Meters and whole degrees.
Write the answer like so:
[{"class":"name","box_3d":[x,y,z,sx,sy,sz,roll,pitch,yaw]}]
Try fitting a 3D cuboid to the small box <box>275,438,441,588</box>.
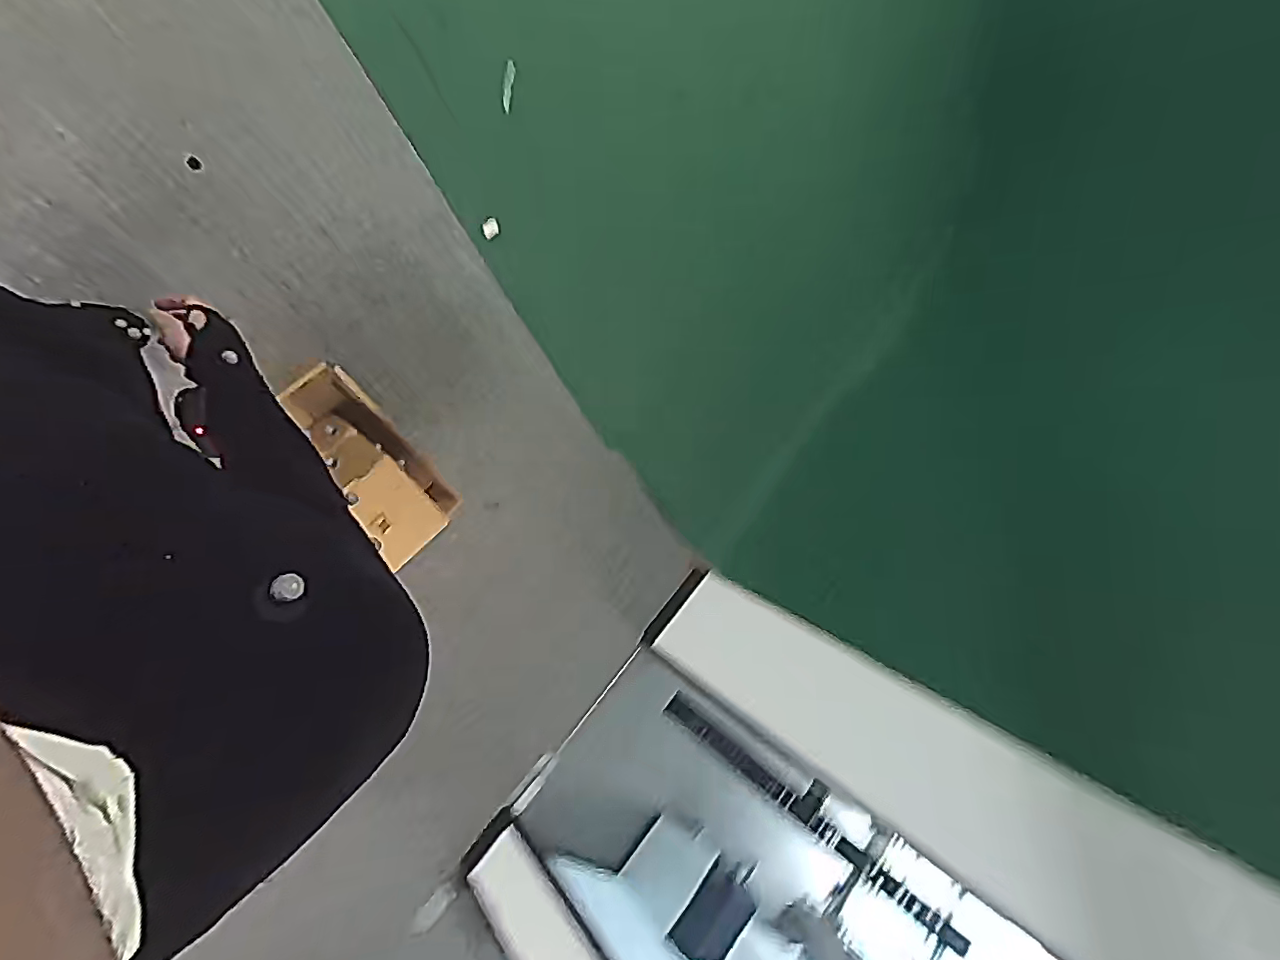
[{"class":"small box","box_3d":[-0.493,0.051,0.951,0.168,0.176,0.179,-46,133,-20]}]
